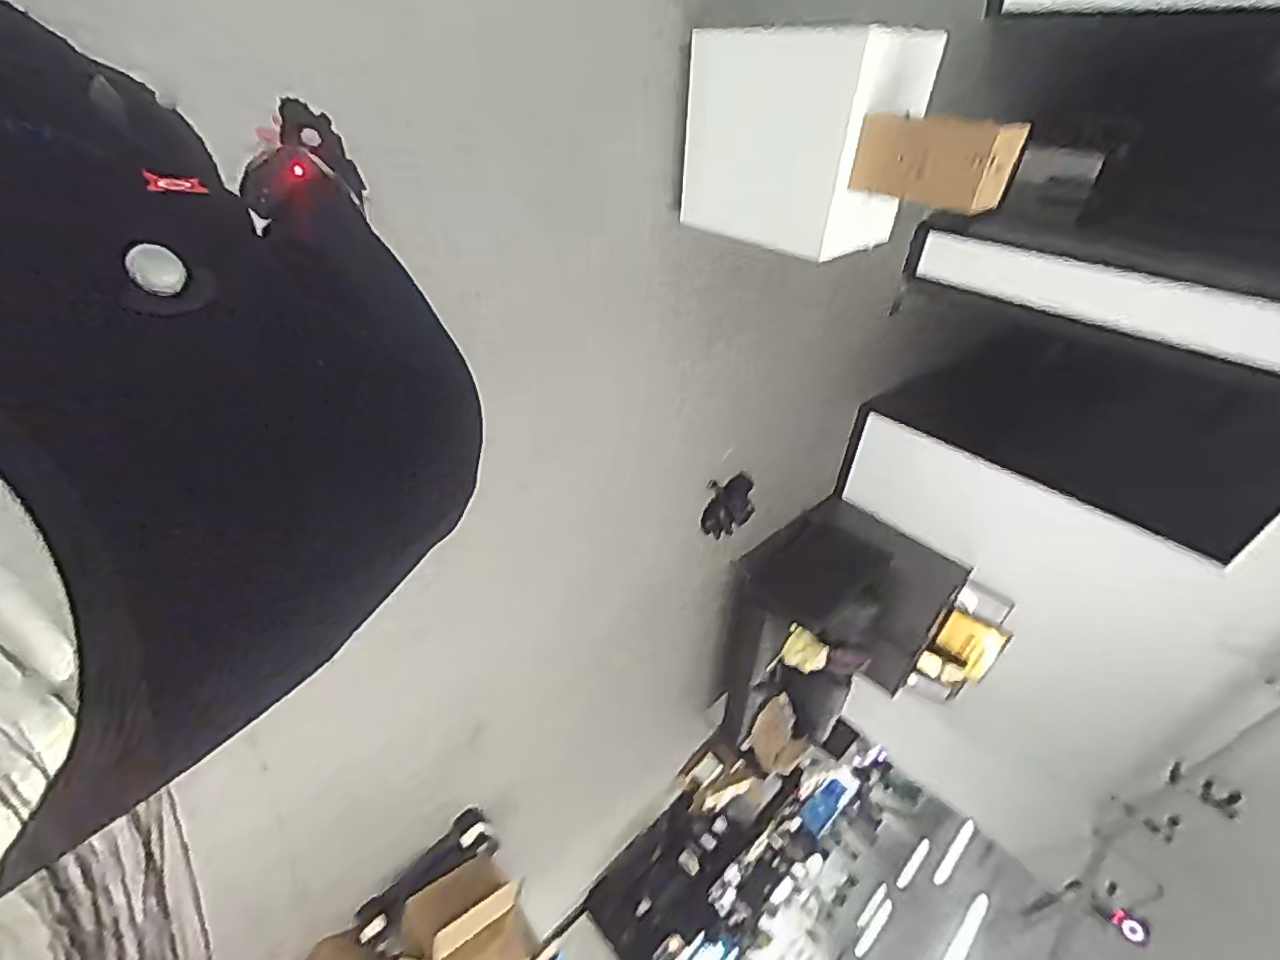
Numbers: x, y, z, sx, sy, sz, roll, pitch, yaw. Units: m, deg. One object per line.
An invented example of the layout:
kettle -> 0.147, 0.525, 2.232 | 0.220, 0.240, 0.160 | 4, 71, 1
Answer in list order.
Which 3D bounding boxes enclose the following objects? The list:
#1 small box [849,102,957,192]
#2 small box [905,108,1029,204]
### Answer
small box -> 0.665, -0.858, 1.385 | 0.168, 0.176, 0.179 | -29, 138, -31
small box -> 0.775, -0.781, 1.295 | 0.179, 0.176, 0.168 | -29, 139, -30
